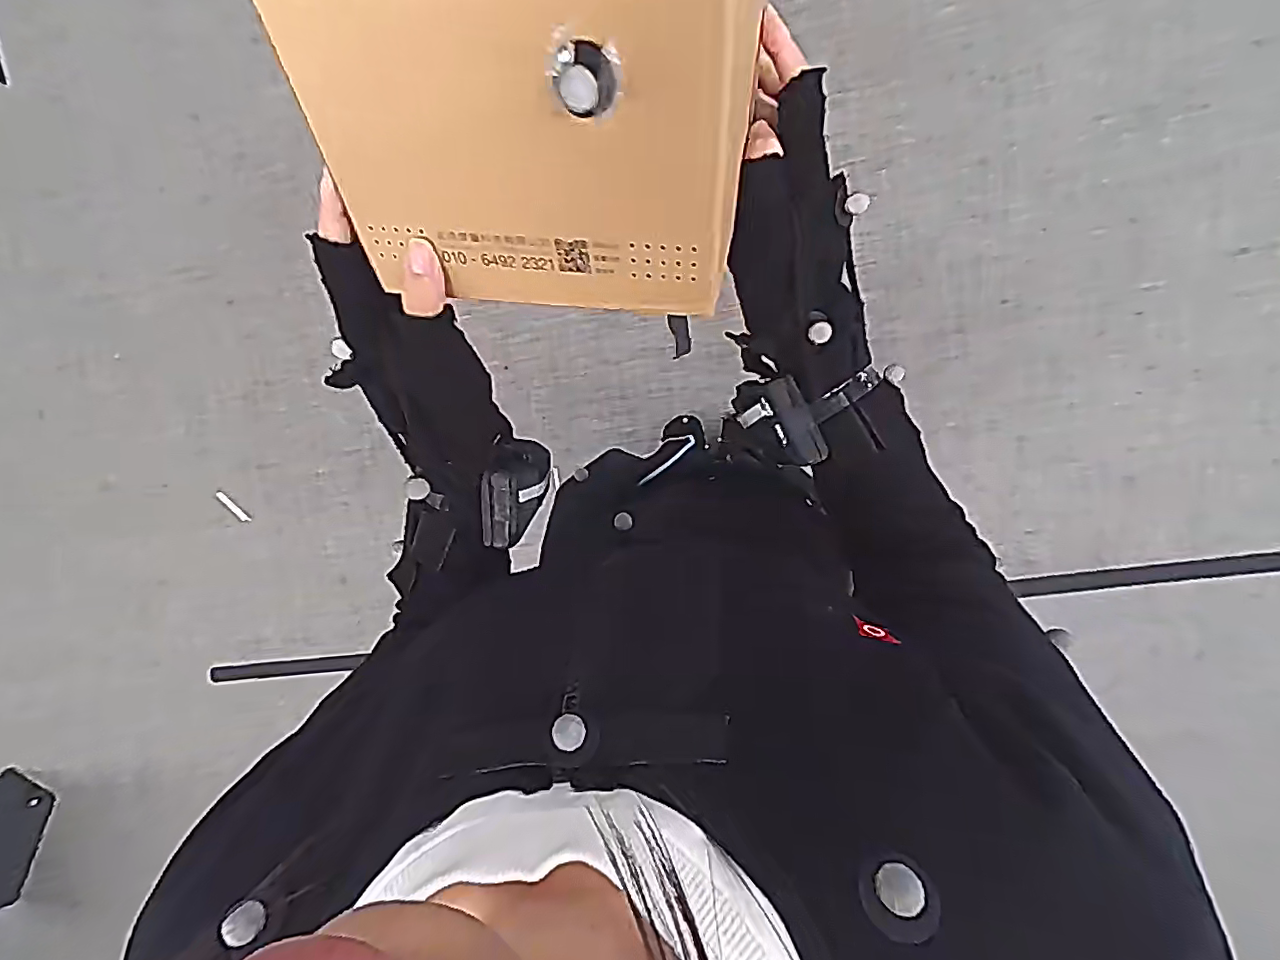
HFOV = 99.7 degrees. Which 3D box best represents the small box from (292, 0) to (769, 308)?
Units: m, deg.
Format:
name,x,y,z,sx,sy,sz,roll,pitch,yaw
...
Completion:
name,x,y,z,sx,sy,sz,roll,pitch,yaw
small box,-0.029,-0.204,0.262,0.168,0.179,0.176,9,141,12
